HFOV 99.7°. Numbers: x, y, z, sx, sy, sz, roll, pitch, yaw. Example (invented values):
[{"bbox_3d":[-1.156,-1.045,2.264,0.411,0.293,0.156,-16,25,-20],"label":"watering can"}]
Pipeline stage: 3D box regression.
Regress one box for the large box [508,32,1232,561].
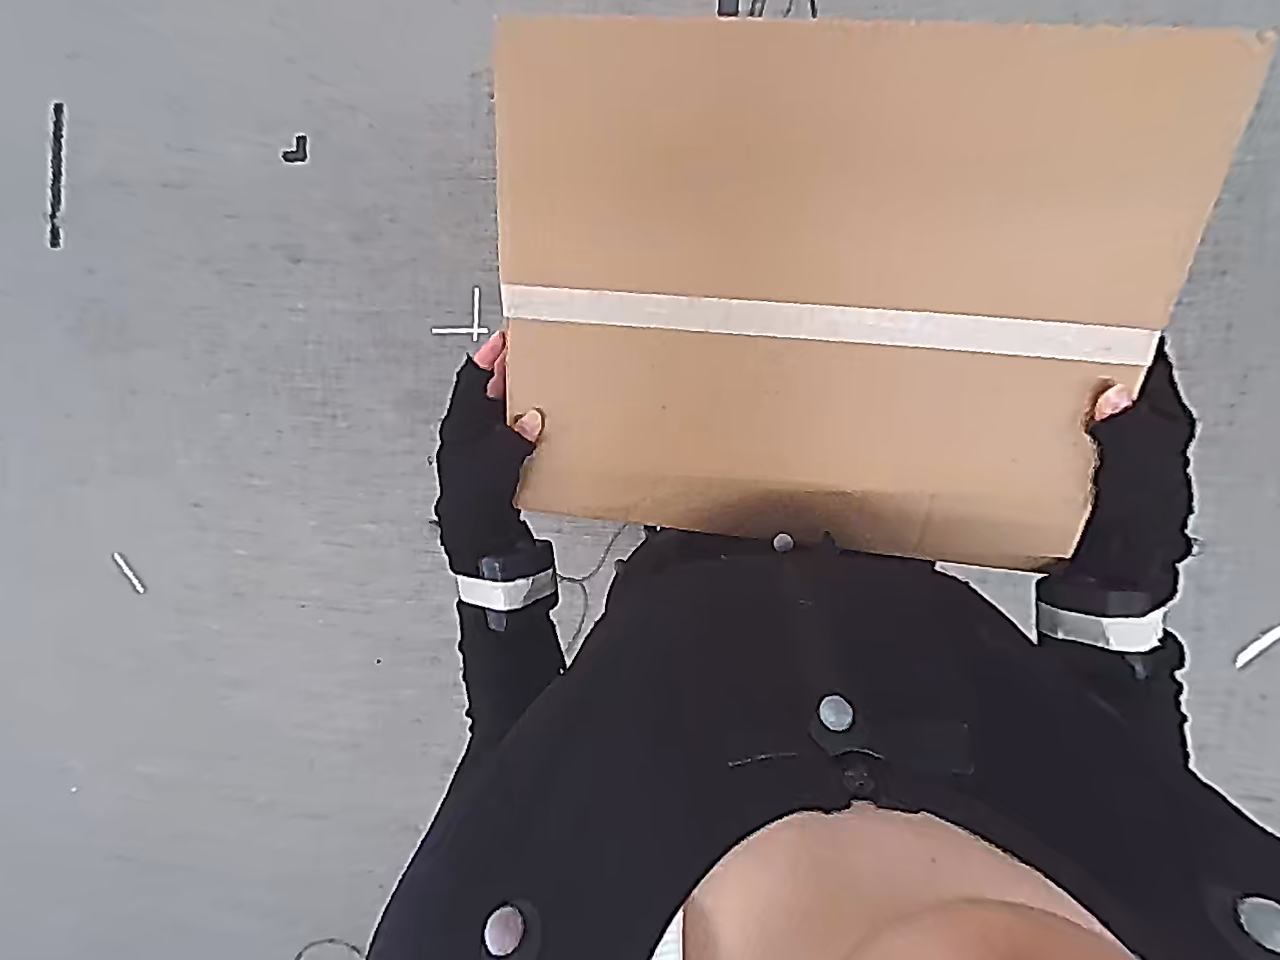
[{"bbox_3d":[0.125,-0.156,0.495,0.408,0.320,0.320,7,113,6],"label":"large box"}]
